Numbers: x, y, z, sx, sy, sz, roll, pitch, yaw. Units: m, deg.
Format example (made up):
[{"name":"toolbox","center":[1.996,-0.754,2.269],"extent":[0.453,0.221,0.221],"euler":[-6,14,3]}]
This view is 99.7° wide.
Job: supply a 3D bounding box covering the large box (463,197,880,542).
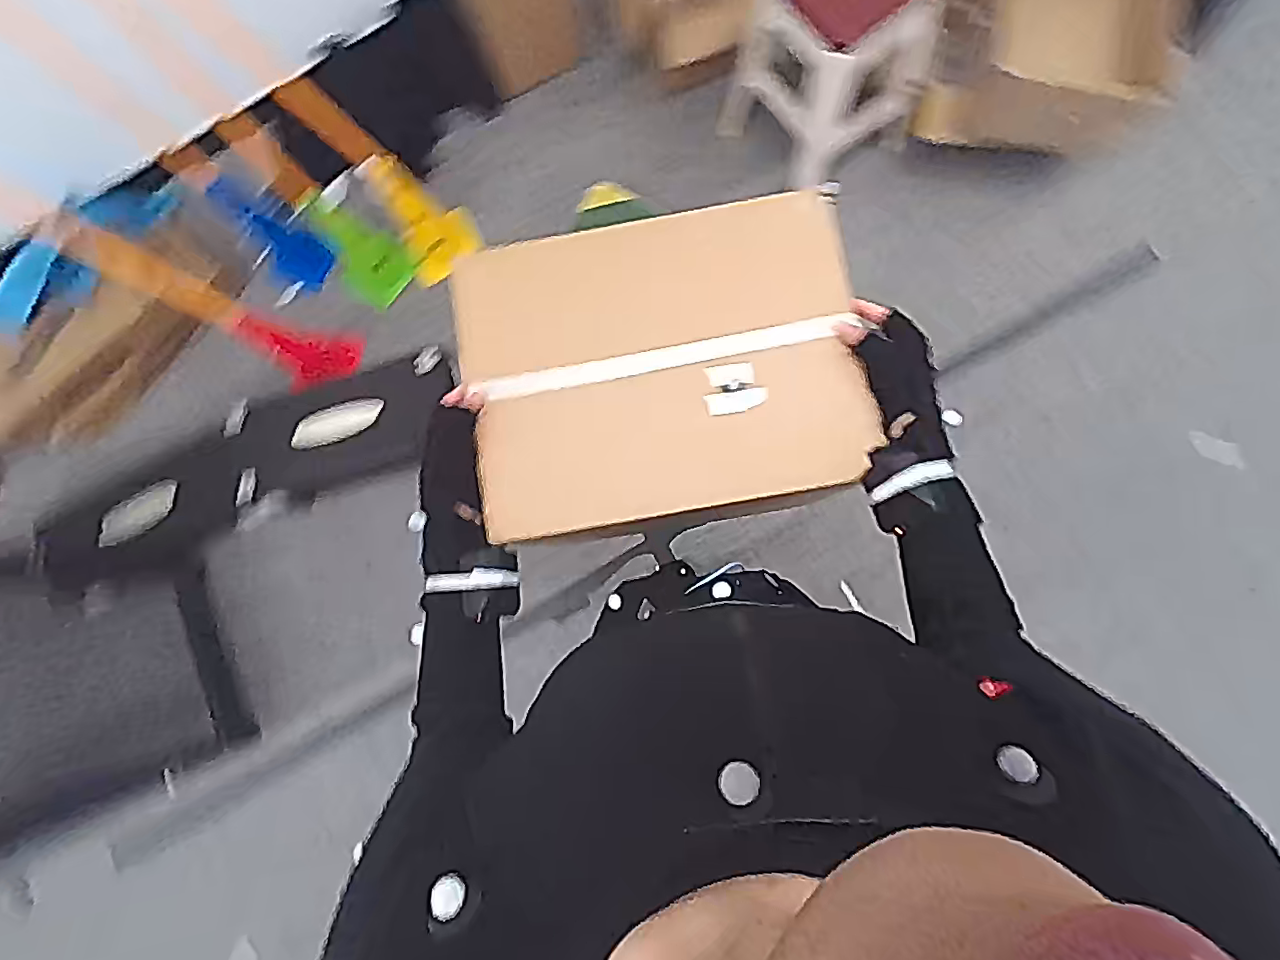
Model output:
[{"name":"large box","center":[0.028,-0.106,0.716],"extent":[0.408,0.320,0.320],"euler":[-9,83,1]}]
